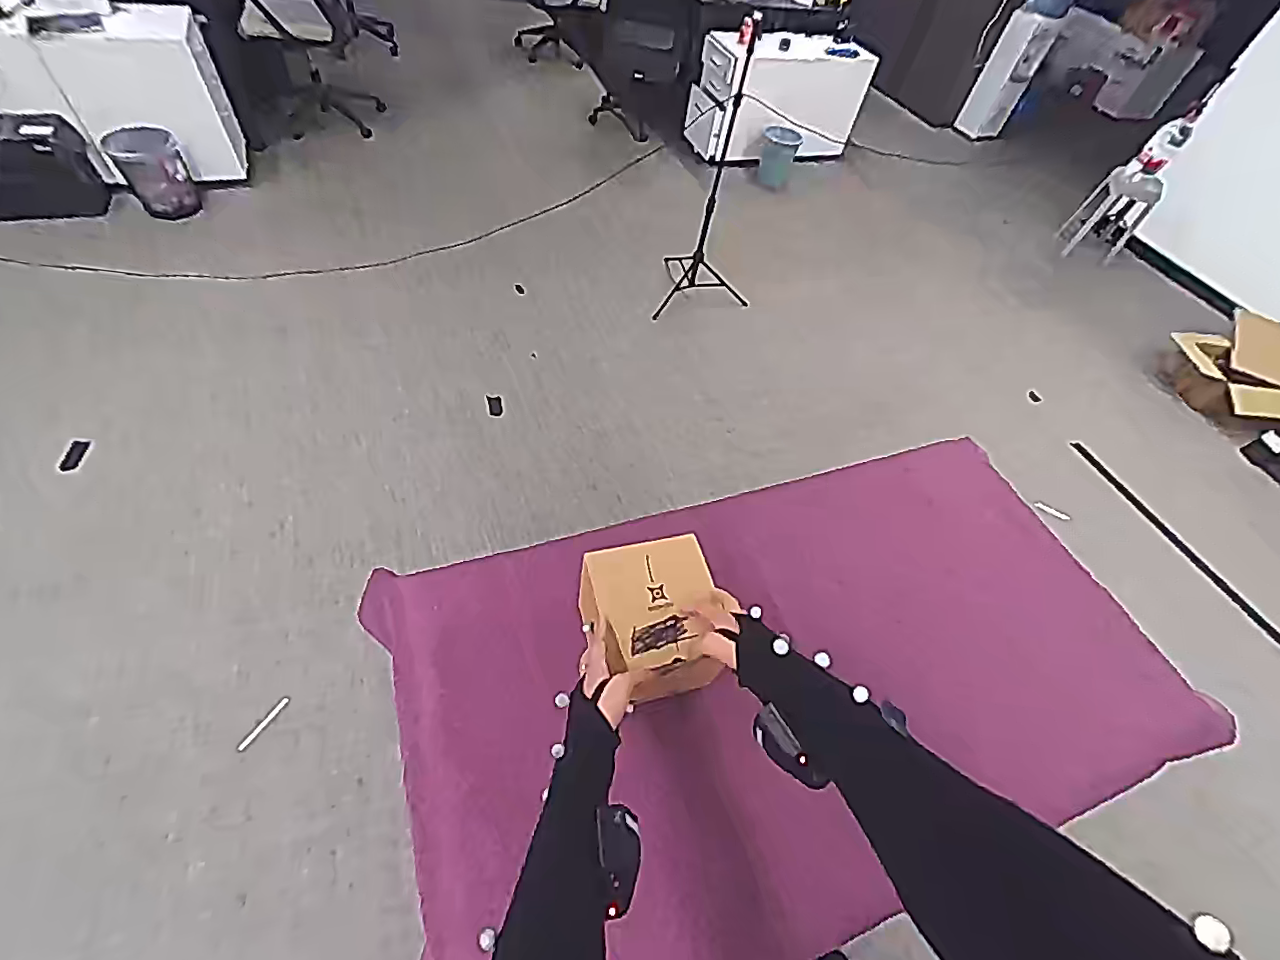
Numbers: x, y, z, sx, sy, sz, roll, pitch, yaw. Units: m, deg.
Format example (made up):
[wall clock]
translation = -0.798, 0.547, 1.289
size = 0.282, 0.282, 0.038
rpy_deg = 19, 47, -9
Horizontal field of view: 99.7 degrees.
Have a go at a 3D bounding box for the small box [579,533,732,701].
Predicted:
[small box]
translation = 0.010, 0.204, 0.780
size = 0.168, 0.176, 0.179
rpy_deg = -9, 56, -16
